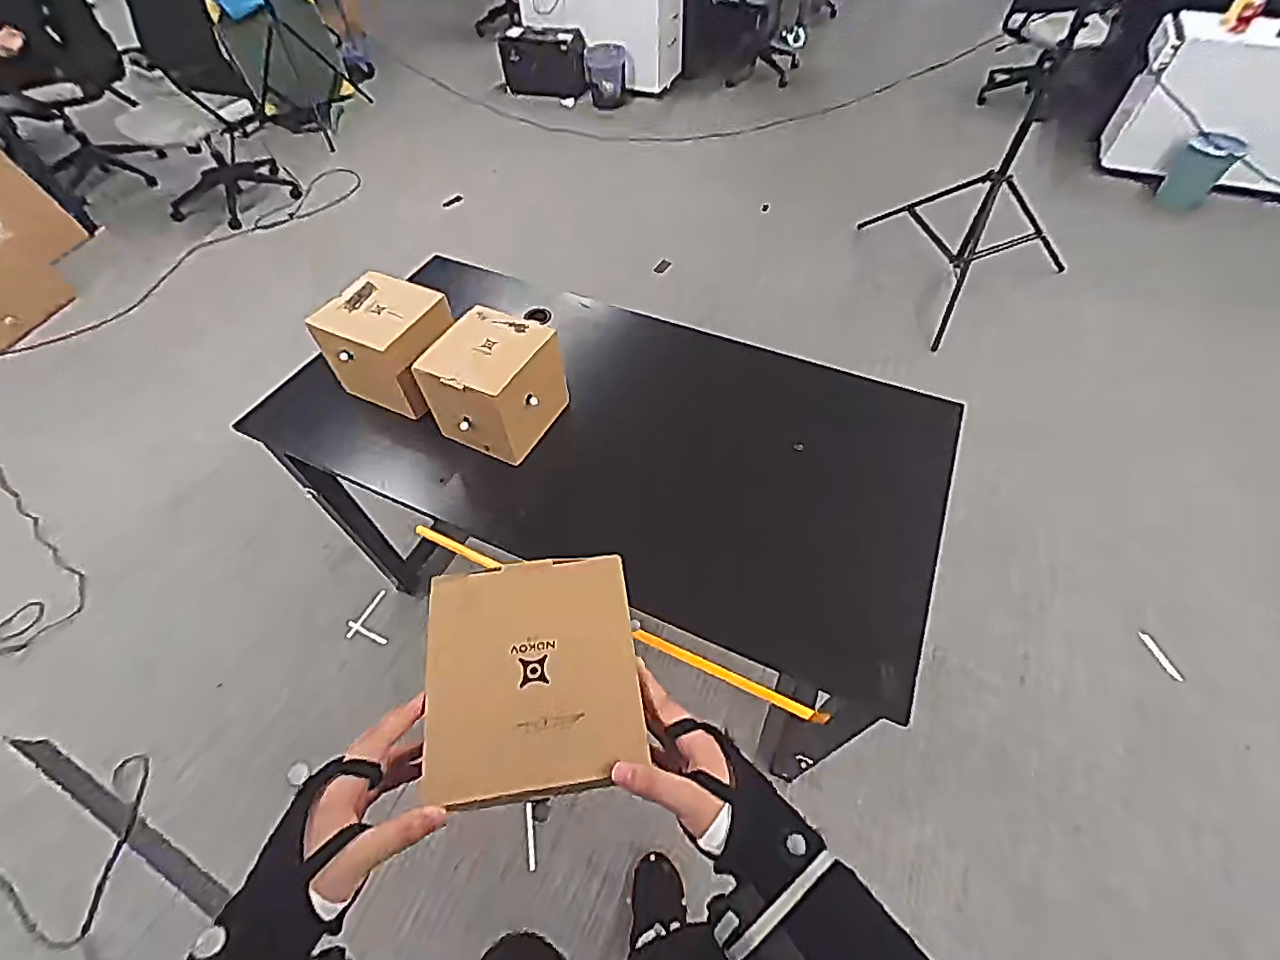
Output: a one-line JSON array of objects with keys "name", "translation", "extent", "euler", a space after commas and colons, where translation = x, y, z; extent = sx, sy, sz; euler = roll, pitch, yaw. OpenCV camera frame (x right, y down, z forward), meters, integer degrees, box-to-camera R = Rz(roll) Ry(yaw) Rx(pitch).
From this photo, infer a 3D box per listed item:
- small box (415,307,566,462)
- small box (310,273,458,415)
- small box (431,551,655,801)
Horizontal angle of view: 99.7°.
[{"name": "small box", "translation": [-0.242, -0.160, 0.932], "extent": [0.168, 0.176, 0.179], "euler": [22, 58, 16]}, {"name": "small box", "translation": [-0.448, -0.247, 0.997], "extent": [0.179, 0.176, 0.168], "euler": [22, 58, 15]}, {"name": "small box", "translation": [-0.087, 0.187, 0.506], "extent": [0.168, 0.176, 0.179], "euler": [-7, 60, -8]}]
